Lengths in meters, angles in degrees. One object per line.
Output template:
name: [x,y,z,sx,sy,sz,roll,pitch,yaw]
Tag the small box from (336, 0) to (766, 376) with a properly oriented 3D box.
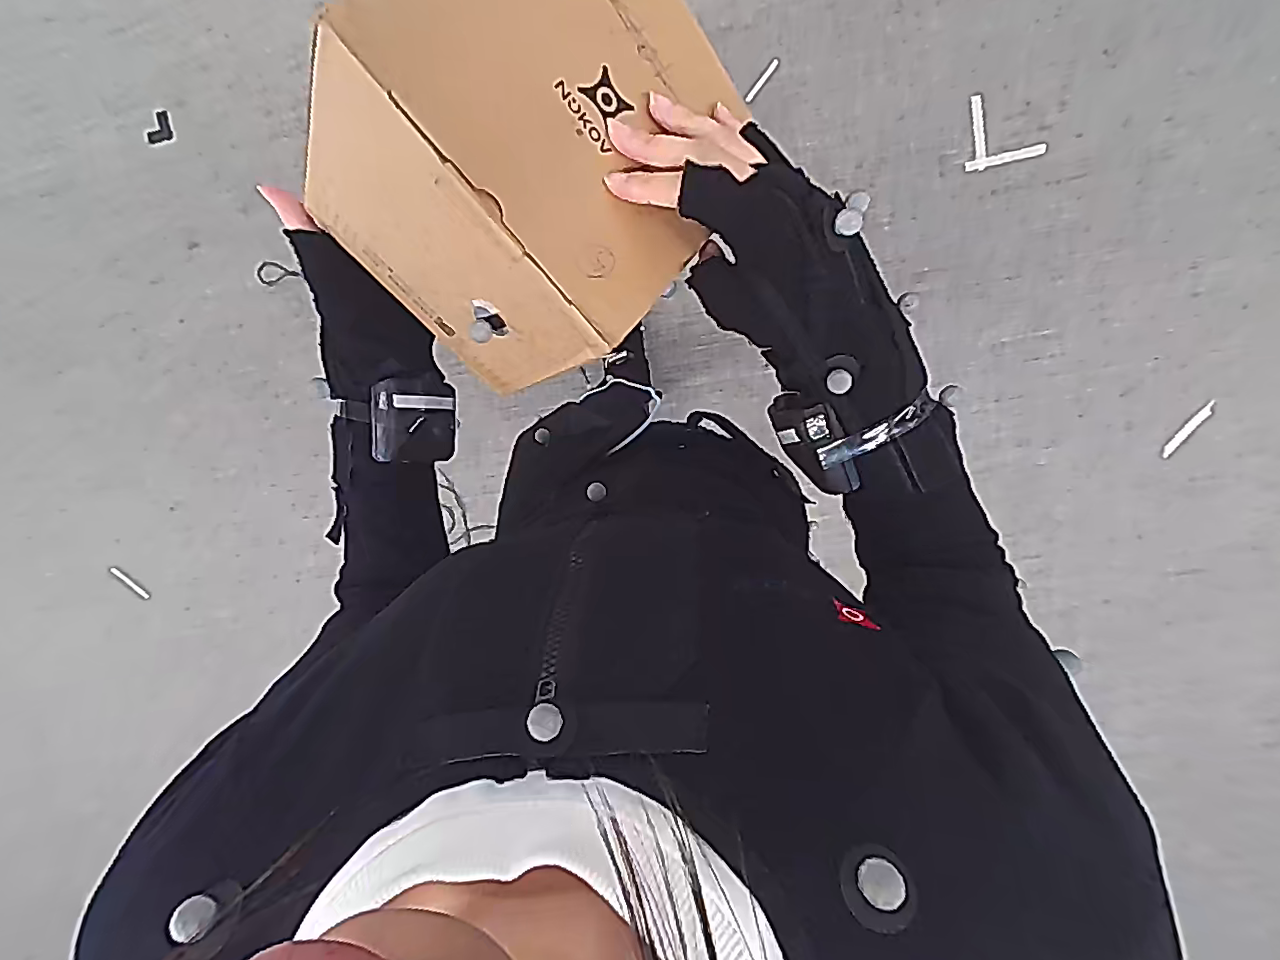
small box: [-0.062,-0.188,0.343,0.168,0.176,0.179,45,68,-24]
